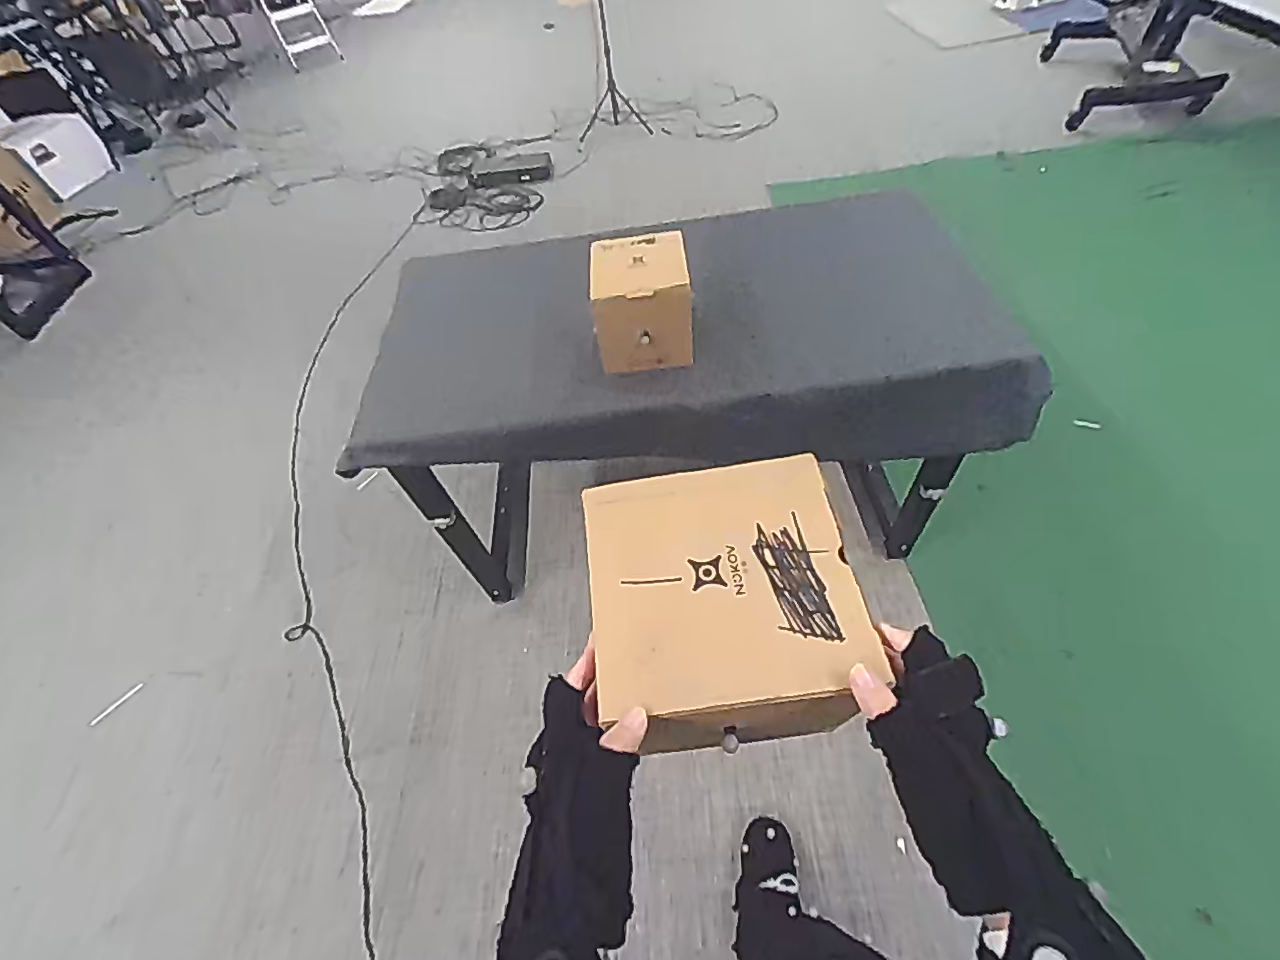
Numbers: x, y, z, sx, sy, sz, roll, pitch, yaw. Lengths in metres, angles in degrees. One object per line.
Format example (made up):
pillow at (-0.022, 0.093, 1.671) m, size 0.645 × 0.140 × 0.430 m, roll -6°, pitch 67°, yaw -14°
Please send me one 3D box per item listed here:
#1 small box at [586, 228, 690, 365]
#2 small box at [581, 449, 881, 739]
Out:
small box at (-0.001, -0.325, 0.985) m, size 0.168 × 0.176 × 0.179 m, roll -6°, pitch 54°, yaw 4°
small box at (0.056, 0.098, 0.429) m, size 0.179 × 0.176 × 0.168 m, roll -9°, pitch 57°, yaw 1°
